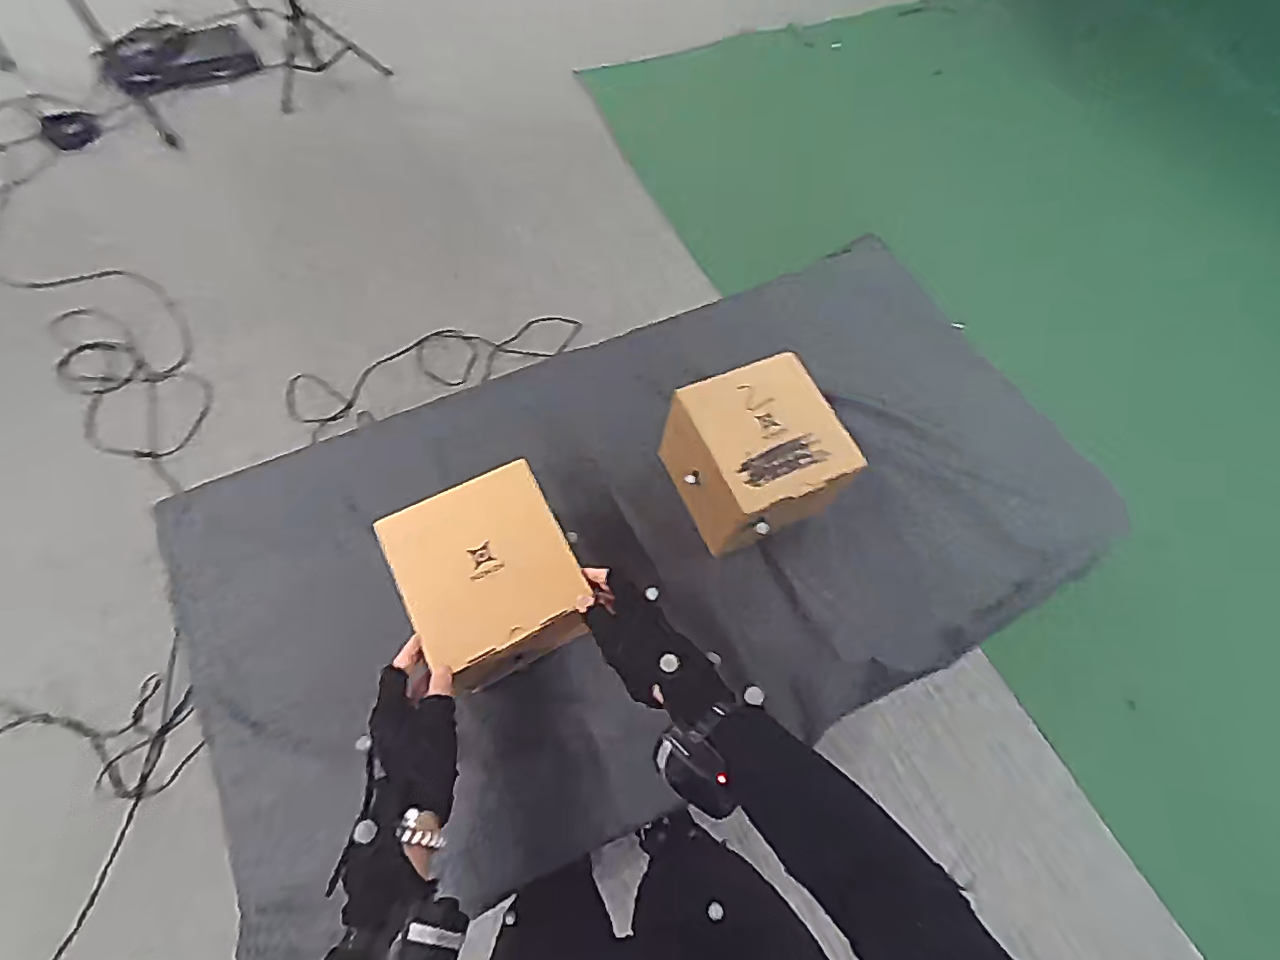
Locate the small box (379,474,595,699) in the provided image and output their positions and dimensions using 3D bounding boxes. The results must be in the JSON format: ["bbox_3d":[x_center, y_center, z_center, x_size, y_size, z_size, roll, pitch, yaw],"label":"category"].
[{"bbox_3d":[-0.163,0.127,0.614,0.168,0.176,0.179,-26,70,-16],"label":"small box"}]
